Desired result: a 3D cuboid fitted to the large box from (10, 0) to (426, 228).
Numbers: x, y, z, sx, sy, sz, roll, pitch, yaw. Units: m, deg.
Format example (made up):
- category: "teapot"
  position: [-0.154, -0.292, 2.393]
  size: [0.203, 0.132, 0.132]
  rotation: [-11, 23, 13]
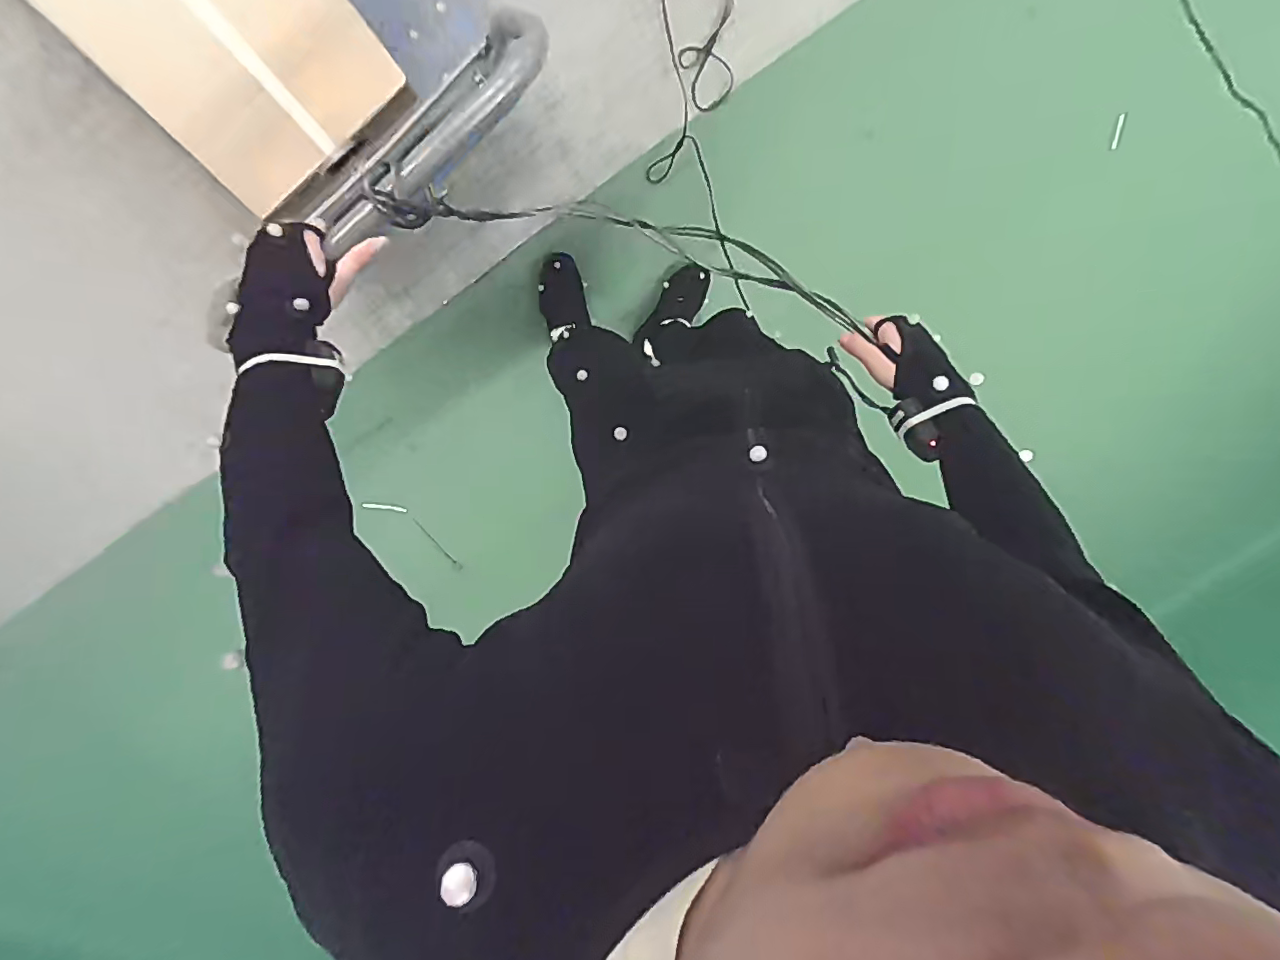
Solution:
- category: "large box"
  position: [-0.617, -0.674, 0.855]
  size: [0.320, 0.320, 0.408]
  rotation: [-40, 118, 7]
